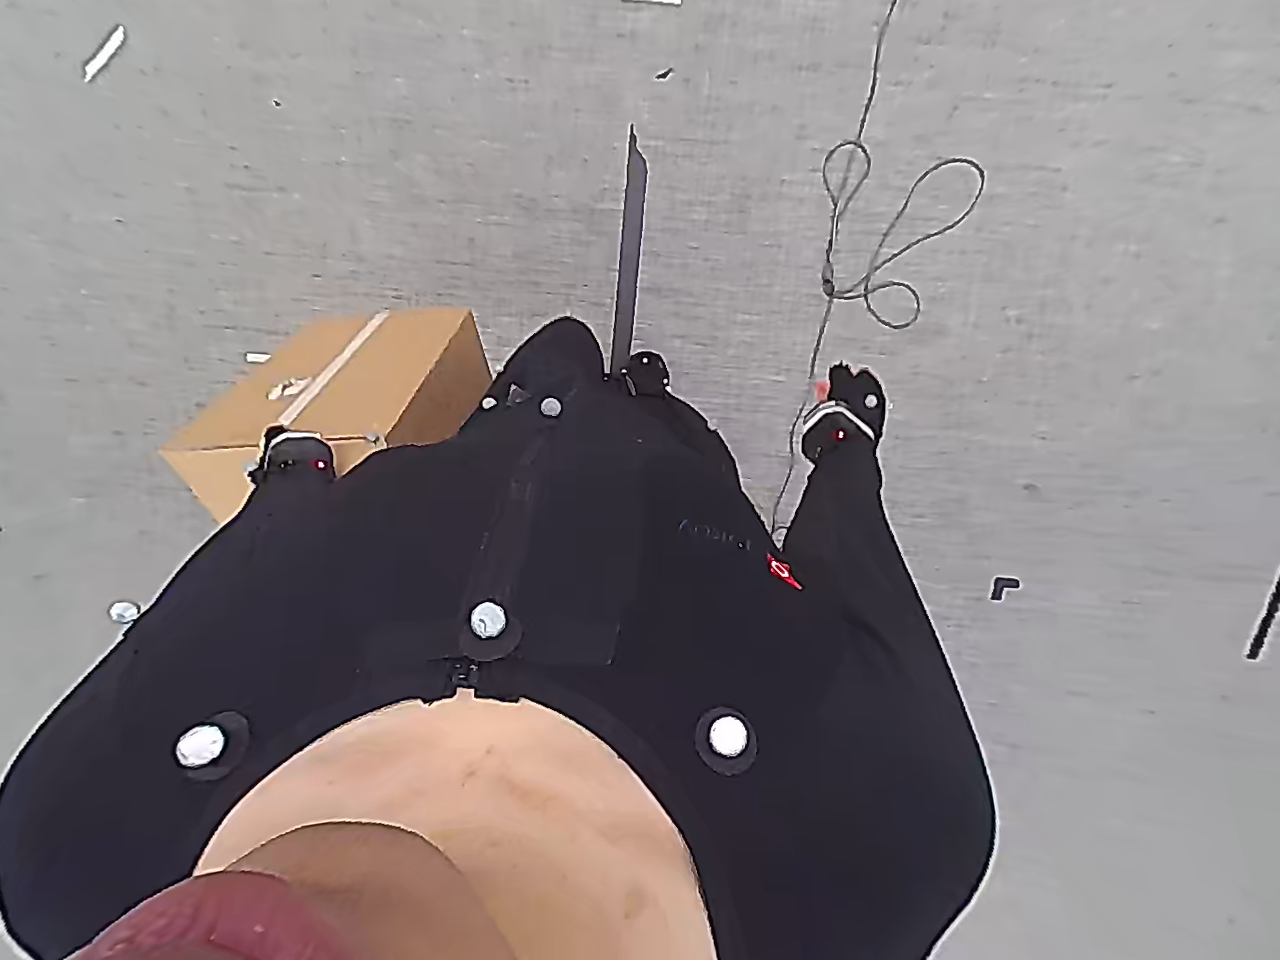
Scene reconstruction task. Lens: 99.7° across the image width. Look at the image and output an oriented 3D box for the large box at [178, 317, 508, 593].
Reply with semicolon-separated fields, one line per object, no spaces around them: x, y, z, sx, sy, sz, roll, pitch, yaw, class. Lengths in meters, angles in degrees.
-0.457;-0.055;0.962;0.320;0.408;0.320;-3;130;6;large box
